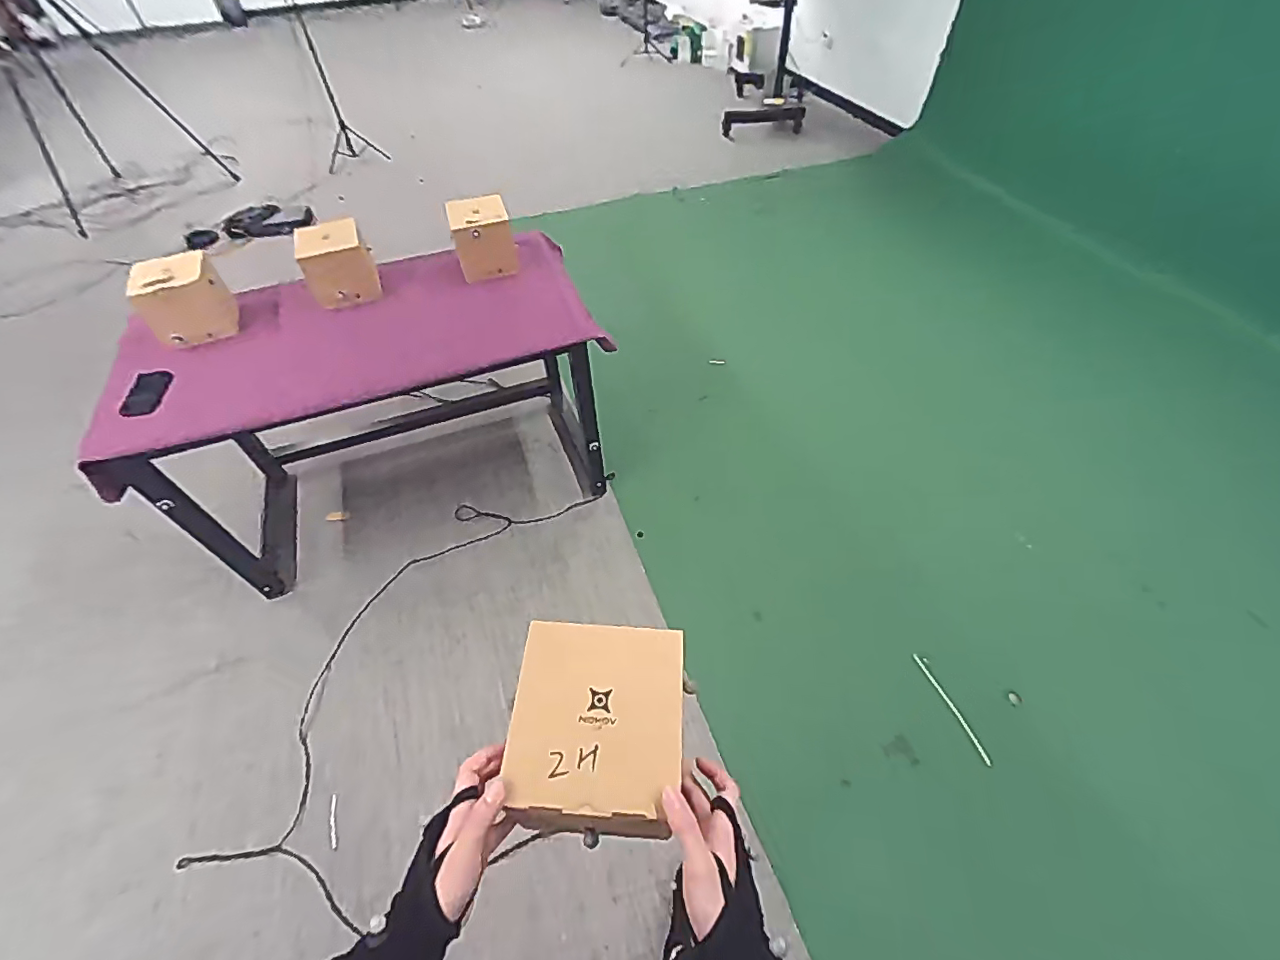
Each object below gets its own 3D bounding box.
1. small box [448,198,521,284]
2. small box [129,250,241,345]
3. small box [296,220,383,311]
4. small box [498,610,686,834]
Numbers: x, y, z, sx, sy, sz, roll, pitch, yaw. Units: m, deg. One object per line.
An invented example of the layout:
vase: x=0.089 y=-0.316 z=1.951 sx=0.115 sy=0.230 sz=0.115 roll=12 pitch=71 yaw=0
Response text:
small box: x=-0.465 y=-0.716 z=1.623 sx=0.168 sy=0.176 sz=0.179 roll=-15 pitch=52 yaw=-10
small box: x=-1.208 y=-0.482 z=1.450 sx=0.168 sy=0.176 sz=0.179 roll=-20 pitch=52 yaw=-15
small box: x=-0.856 y=-0.613 z=1.551 sx=0.168 sy=0.176 sz=0.179 roll=-18 pitch=53 yaw=-12
small box: x=-0.041 y=0.263 z=0.584 sx=0.168 sy=0.176 sz=0.179 roll=3 pitch=51 yaw=2
